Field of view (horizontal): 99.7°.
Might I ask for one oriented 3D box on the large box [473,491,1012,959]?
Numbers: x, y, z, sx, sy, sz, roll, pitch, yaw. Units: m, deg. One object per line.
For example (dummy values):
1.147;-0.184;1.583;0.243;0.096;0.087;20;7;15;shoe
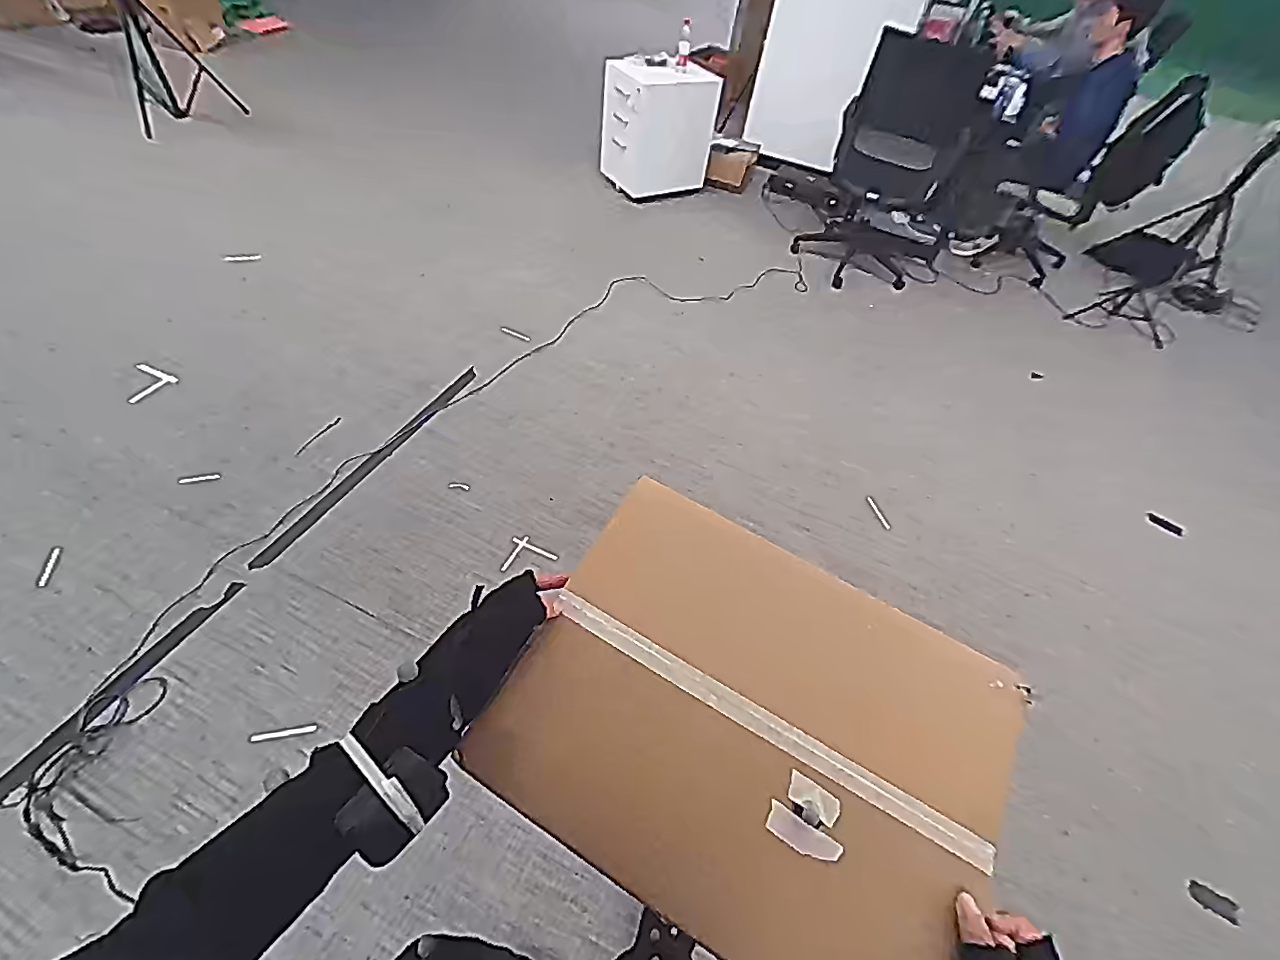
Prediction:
0.094;0.283;0.608;0.408;0.320;0.320;29;64;12;large box
